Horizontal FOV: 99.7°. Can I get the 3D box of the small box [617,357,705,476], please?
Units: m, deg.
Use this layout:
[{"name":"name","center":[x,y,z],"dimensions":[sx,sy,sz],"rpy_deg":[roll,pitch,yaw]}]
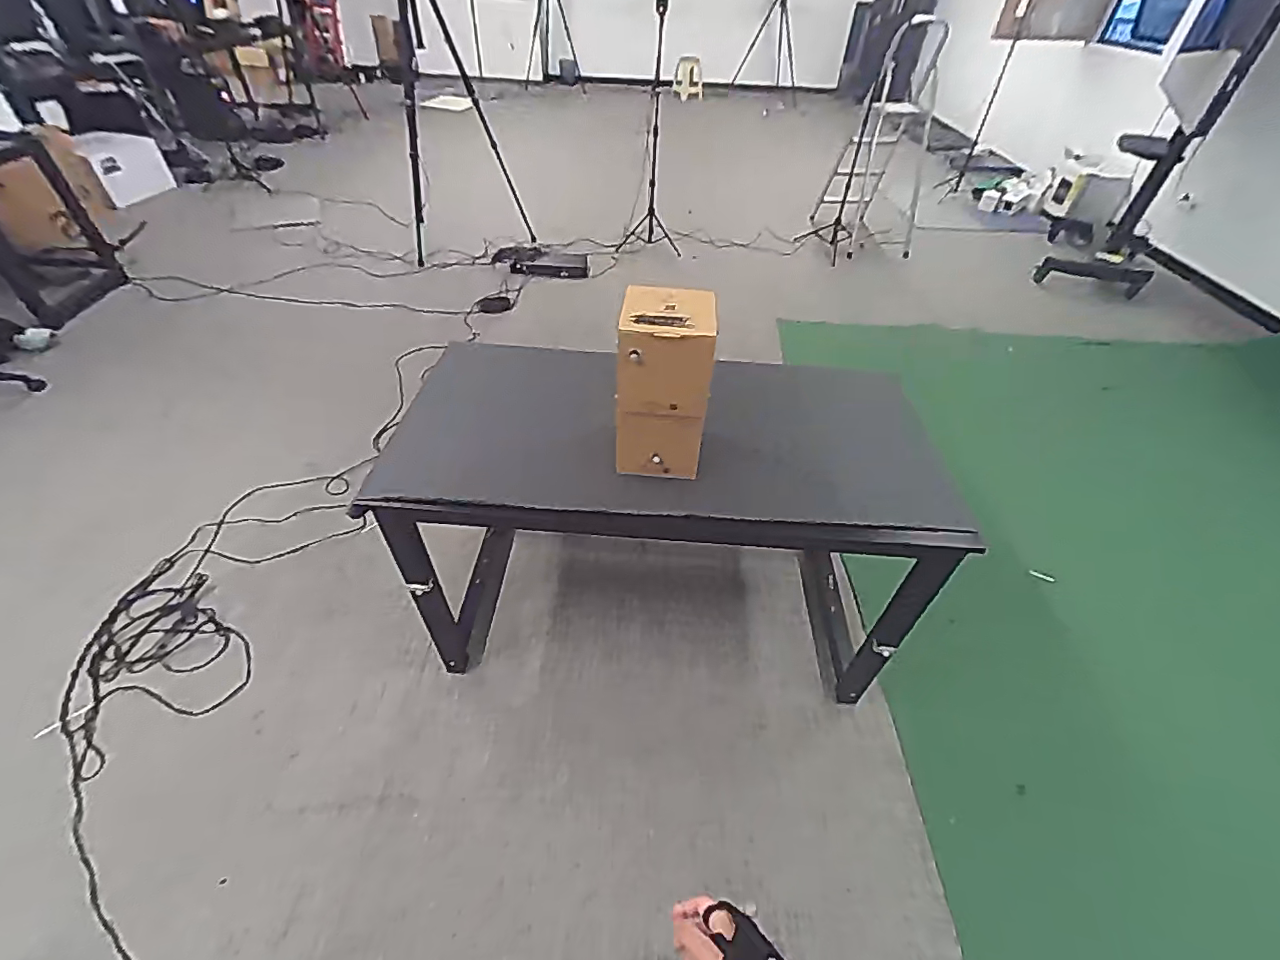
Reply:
[{"name":"small box","center":[0.042,-0.132,1.119],"dimensions":[0.168,0.176,0.179],"rpy_deg":[5,43,2]}]
